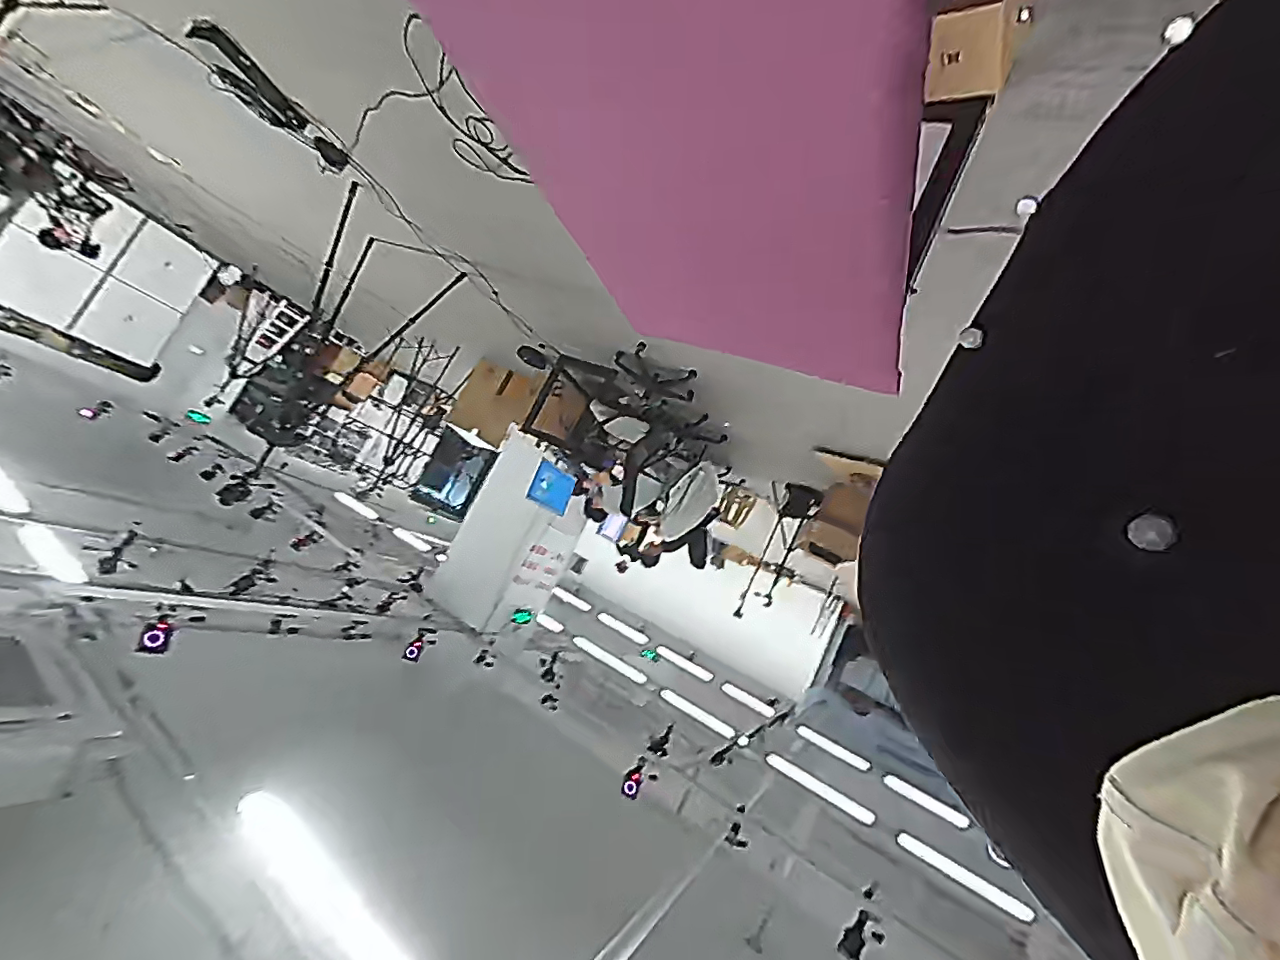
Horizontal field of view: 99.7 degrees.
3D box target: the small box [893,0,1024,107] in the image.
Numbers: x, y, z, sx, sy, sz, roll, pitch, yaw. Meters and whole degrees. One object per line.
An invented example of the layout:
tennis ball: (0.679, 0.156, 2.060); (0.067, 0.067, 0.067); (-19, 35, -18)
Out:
small box: (0.600, -0.847, 1.011); (0.179, 0.176, 0.168); (20, 170, 36)
